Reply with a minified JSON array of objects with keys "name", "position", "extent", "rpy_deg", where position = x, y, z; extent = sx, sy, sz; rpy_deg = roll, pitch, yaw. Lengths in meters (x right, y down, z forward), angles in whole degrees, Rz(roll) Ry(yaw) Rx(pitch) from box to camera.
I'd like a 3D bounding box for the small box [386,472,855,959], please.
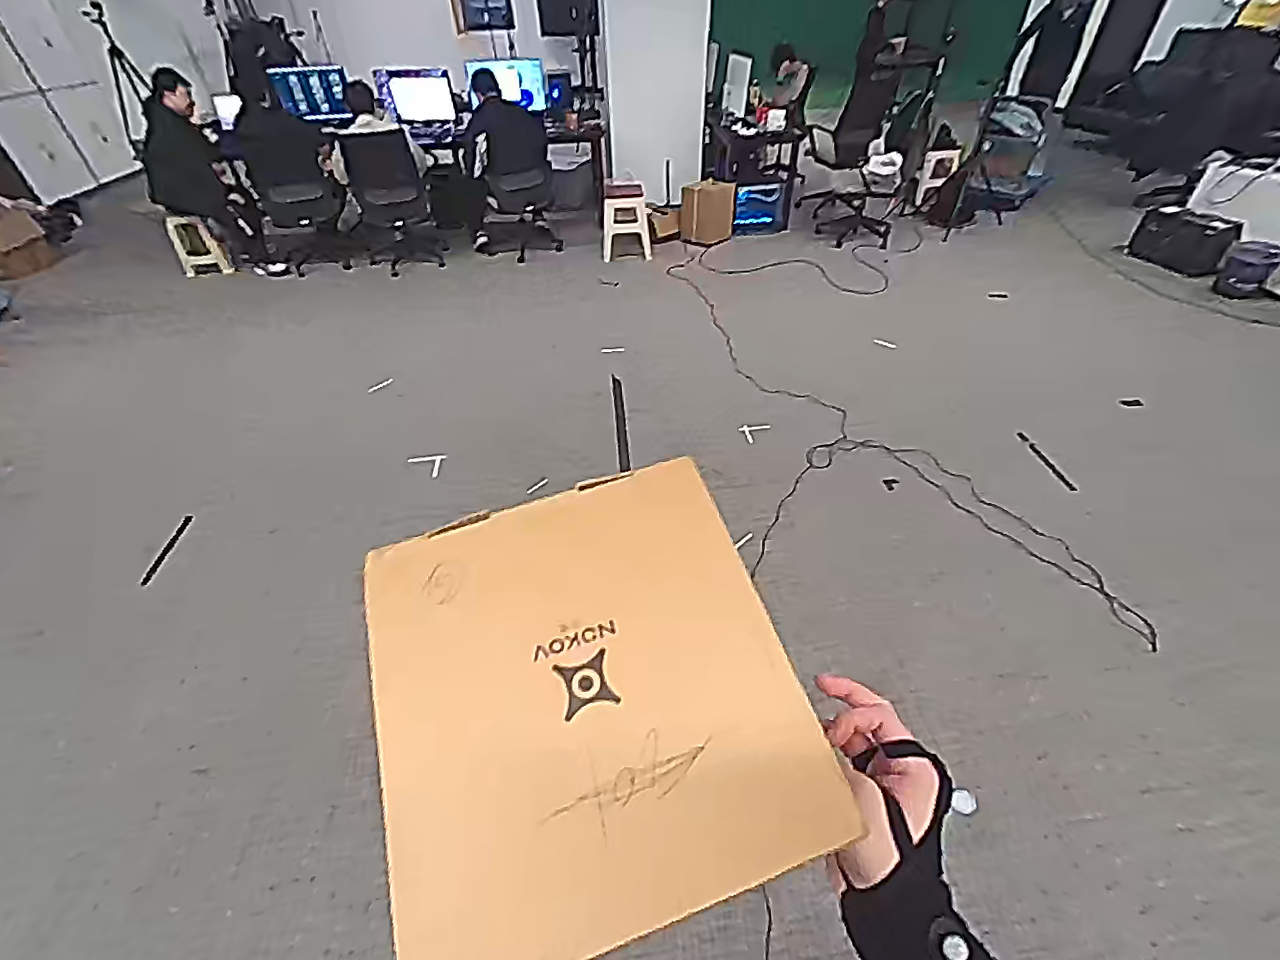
[{"name":"small box","position":[-0.020,0.128,0.303],"extent":[0.168,0.176,0.179],"rpy_deg":[-18,60,-9]}]
